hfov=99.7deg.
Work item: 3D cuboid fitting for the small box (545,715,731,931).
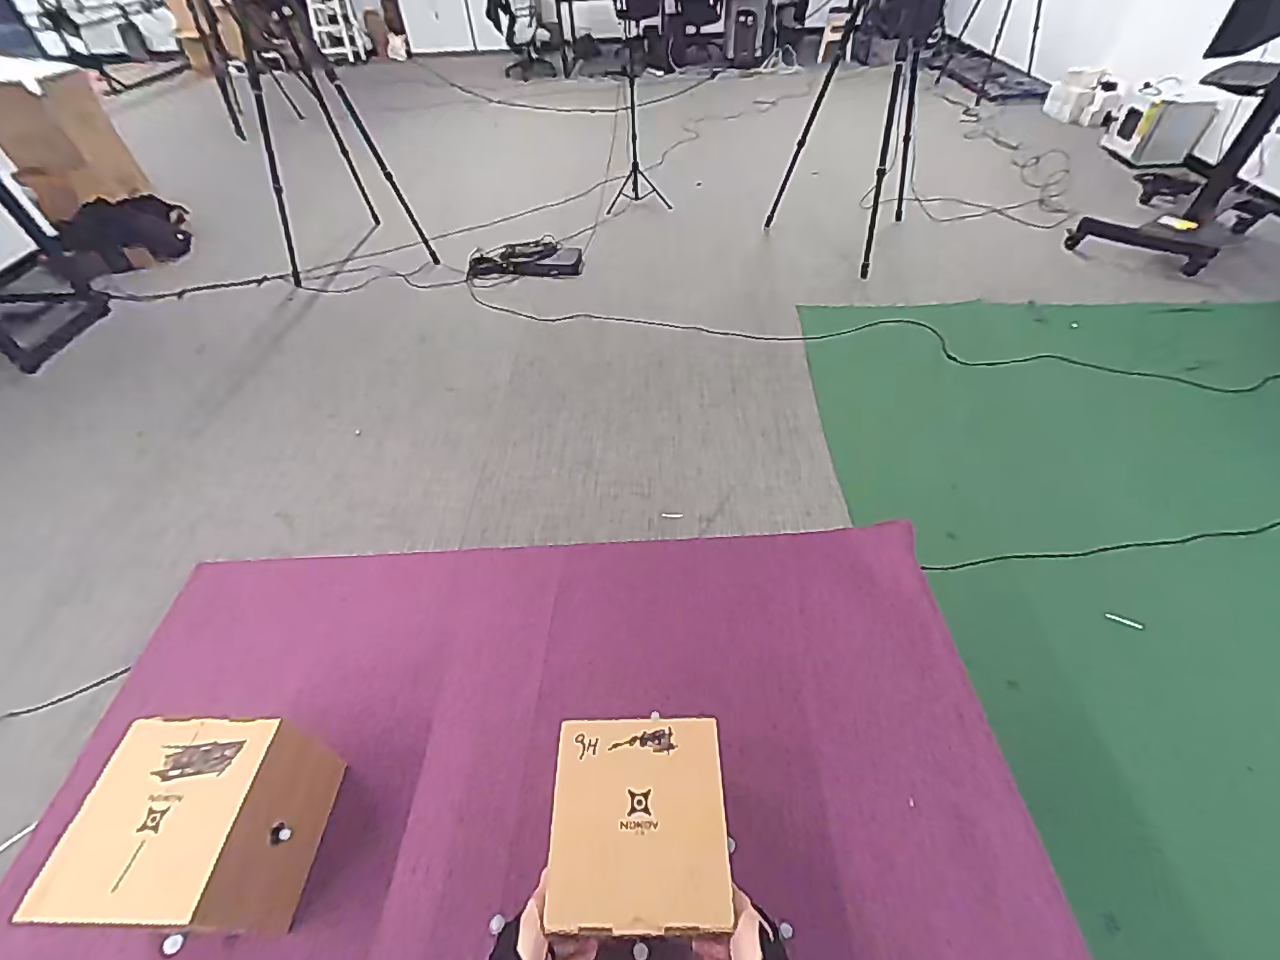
[{"bbox_3d":[0.003,0.367,0.577,0.168,0.176,0.179,-1,49,2],"label":"small box"}]

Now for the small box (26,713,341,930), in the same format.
[{"bbox_3d":[-0.463,0.375,0.593,0.168,0.176,0.179,-1,49,2],"label":"small box"}]
